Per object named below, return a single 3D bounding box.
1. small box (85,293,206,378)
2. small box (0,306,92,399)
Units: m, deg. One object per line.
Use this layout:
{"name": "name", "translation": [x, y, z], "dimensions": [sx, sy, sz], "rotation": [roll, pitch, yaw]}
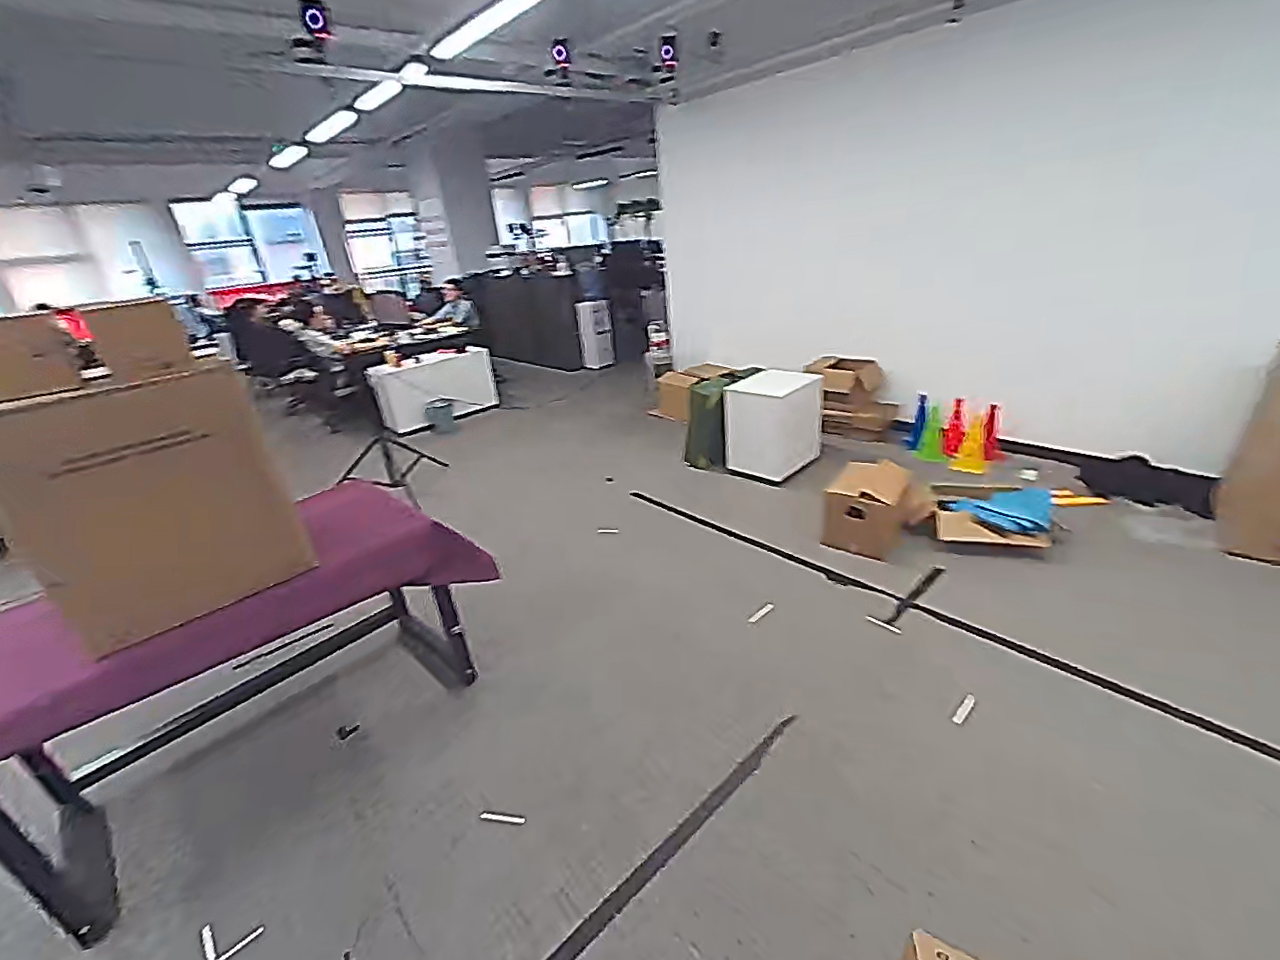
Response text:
{"name": "small box", "translation": [-1.185, -0.351, 1.305], "dimensions": [0.168, 0.176, 0.179], "rotation": [-25, 32, -34]}
{"name": "small box", "translation": [-1.379, -0.288, 1.208], "dimensions": [0.179, 0.176, 0.168], "rotation": [-24, 30, -35]}
